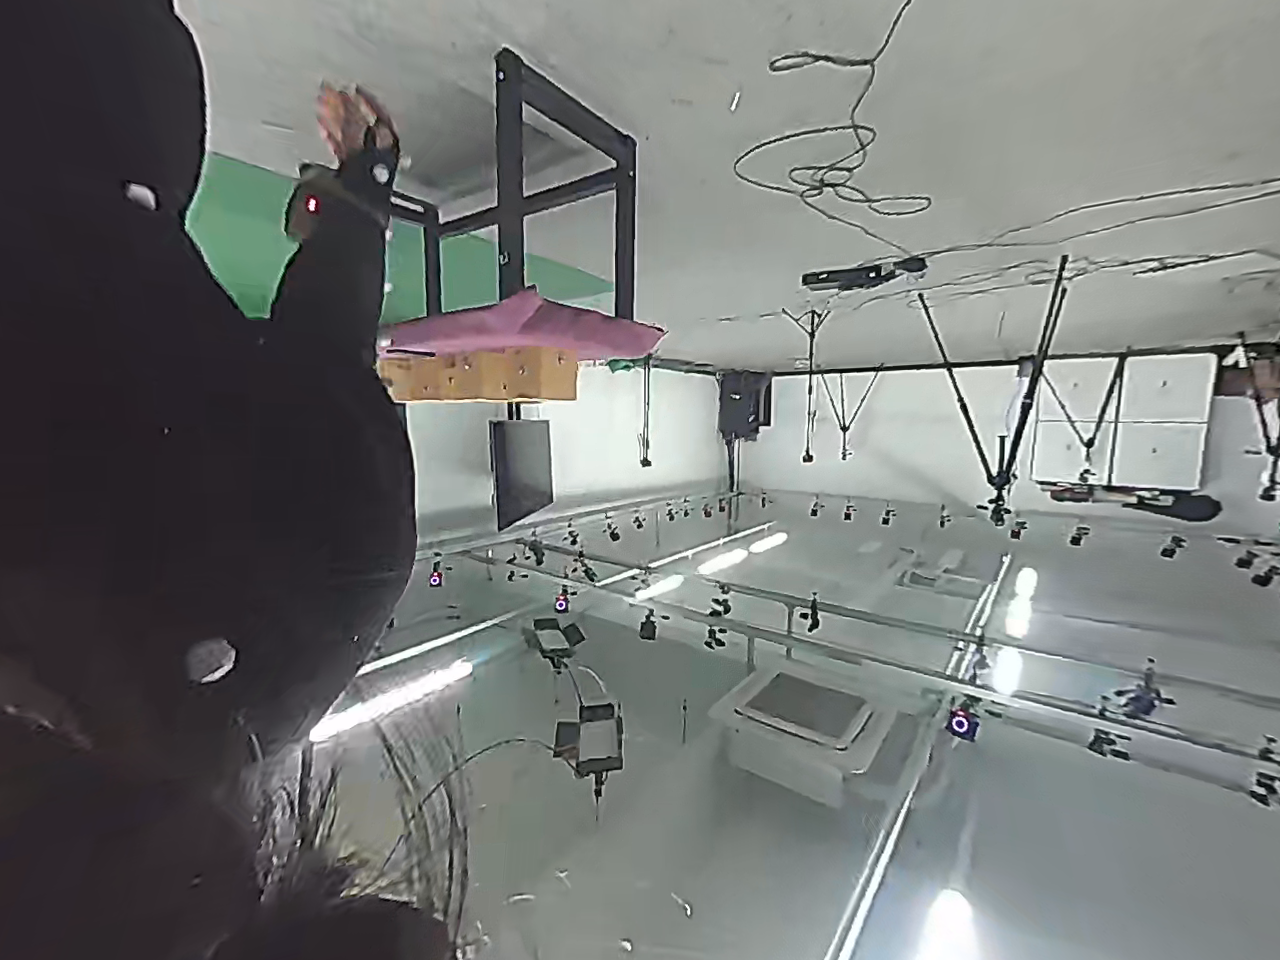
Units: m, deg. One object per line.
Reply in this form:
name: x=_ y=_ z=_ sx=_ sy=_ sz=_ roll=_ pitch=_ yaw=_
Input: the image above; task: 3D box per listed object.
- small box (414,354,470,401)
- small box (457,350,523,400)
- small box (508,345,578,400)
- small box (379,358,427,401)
small box: x=-0.761 y=-0.396 z=2.097 sx=0.179 sy=0.176 sz=0.168 roll=5 pitch=-173 yaw=31
small box: x=-0.543 y=-0.377 z=1.957 sx=0.168 sy=0.176 sz=0.179 roll=6 pitch=-172 yaw=39
small box: x=-0.323 y=-0.357 z=1.804 sx=0.168 sy=0.176 sz=0.179 roll=6 pitch=-173 yaw=34
small box: x=-0.977 y=-0.414 z=2.237 sx=0.168 sy=0.176 sz=0.179 roll=-5 pitch=-171 yaw=-34
